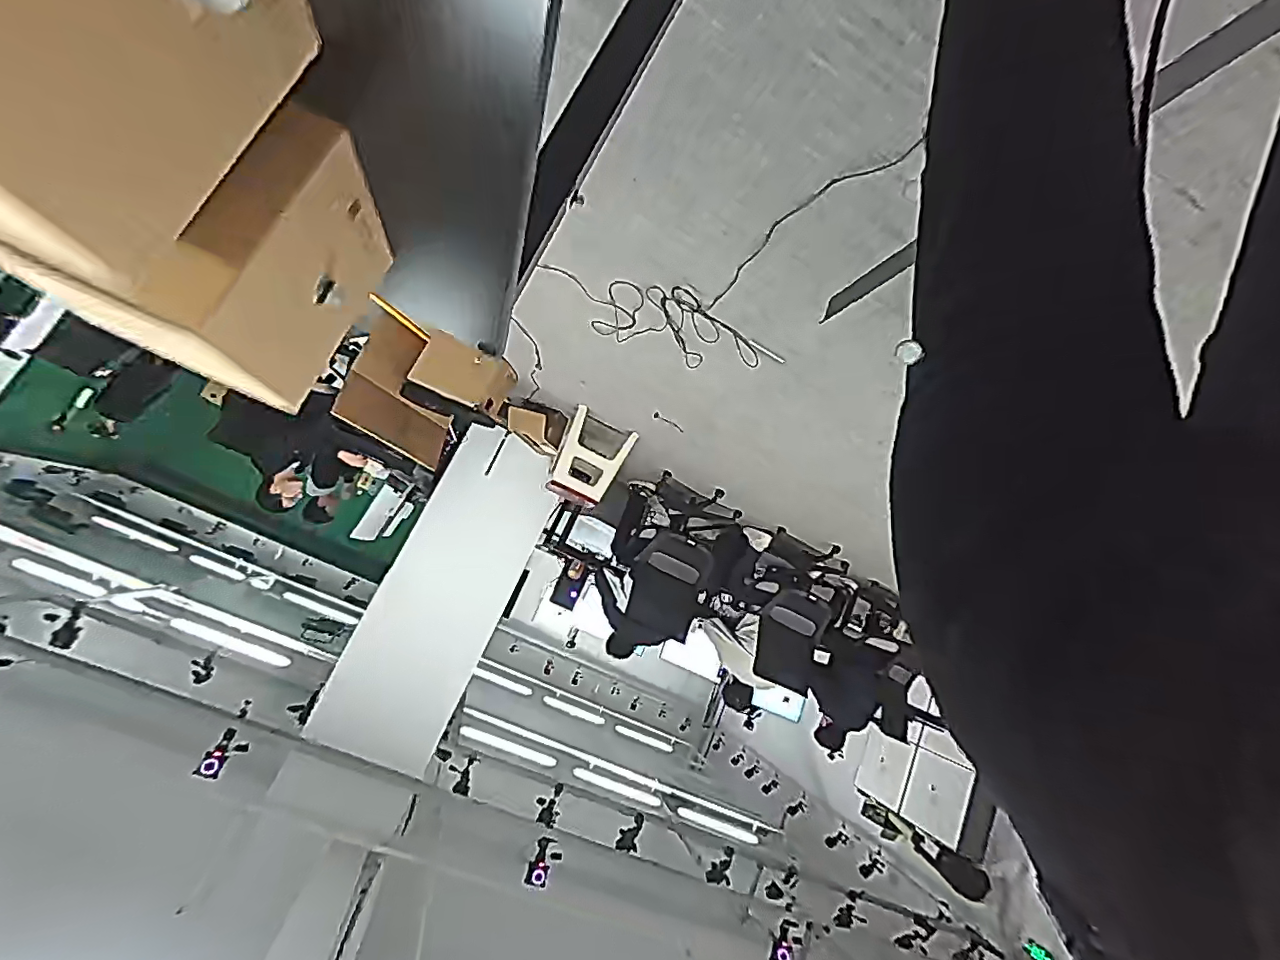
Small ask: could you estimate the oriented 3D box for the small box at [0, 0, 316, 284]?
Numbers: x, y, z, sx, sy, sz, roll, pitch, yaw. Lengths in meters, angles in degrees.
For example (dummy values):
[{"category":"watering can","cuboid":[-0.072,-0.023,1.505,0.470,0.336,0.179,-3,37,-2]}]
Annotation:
[{"category":"small box","cuboid":[-0.256,-0.211,0.182,0.179,0.176,0.168,27,167,-12]}]
